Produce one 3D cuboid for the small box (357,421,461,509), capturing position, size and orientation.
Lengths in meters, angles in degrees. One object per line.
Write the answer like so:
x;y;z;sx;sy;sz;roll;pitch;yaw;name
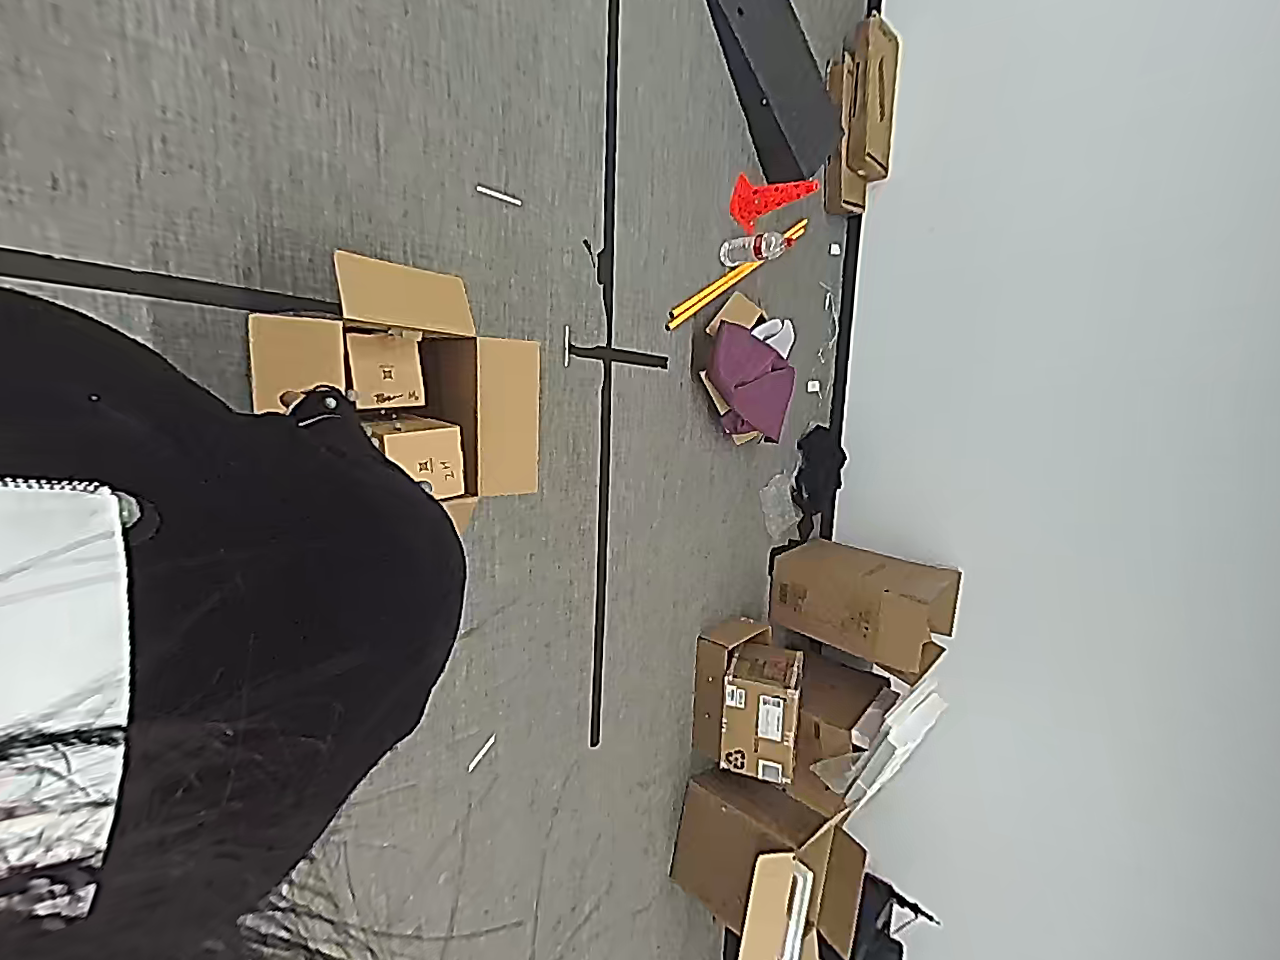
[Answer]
-0.545;-0.043;1.267;0.179;0.176;0.168;-14;111;-44;small box
